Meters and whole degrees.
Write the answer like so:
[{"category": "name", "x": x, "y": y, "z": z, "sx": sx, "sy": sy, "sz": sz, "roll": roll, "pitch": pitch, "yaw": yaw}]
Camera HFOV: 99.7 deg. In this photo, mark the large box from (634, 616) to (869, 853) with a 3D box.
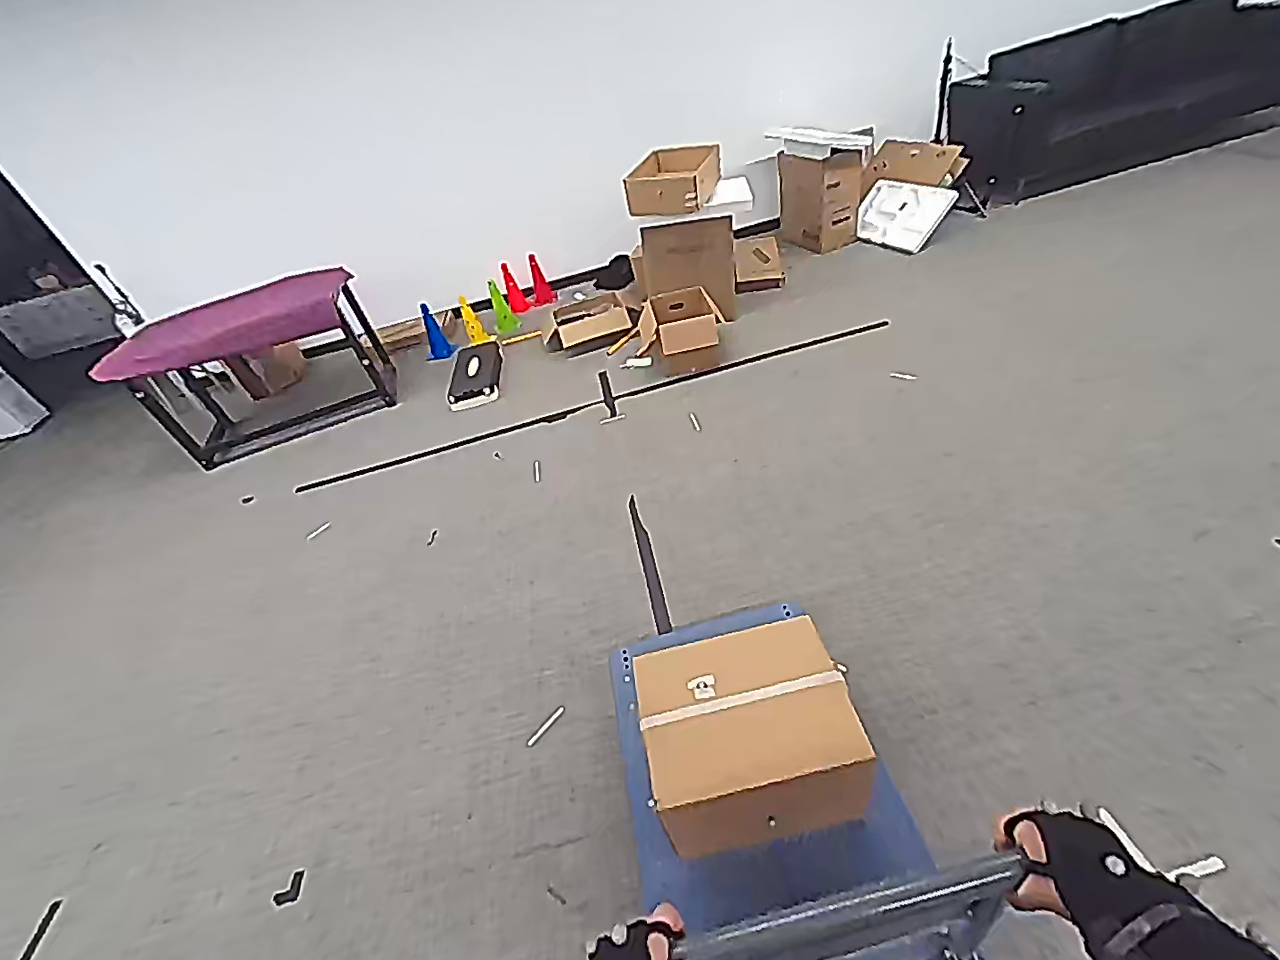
[{"category": "large box", "x": 0.231, "y": 0.555, "z": 1.182, "sx": 0.408, "sy": 0.320, "sz": 0.320, "roll": -15, "pitch": 39, "yaw": 1}]
